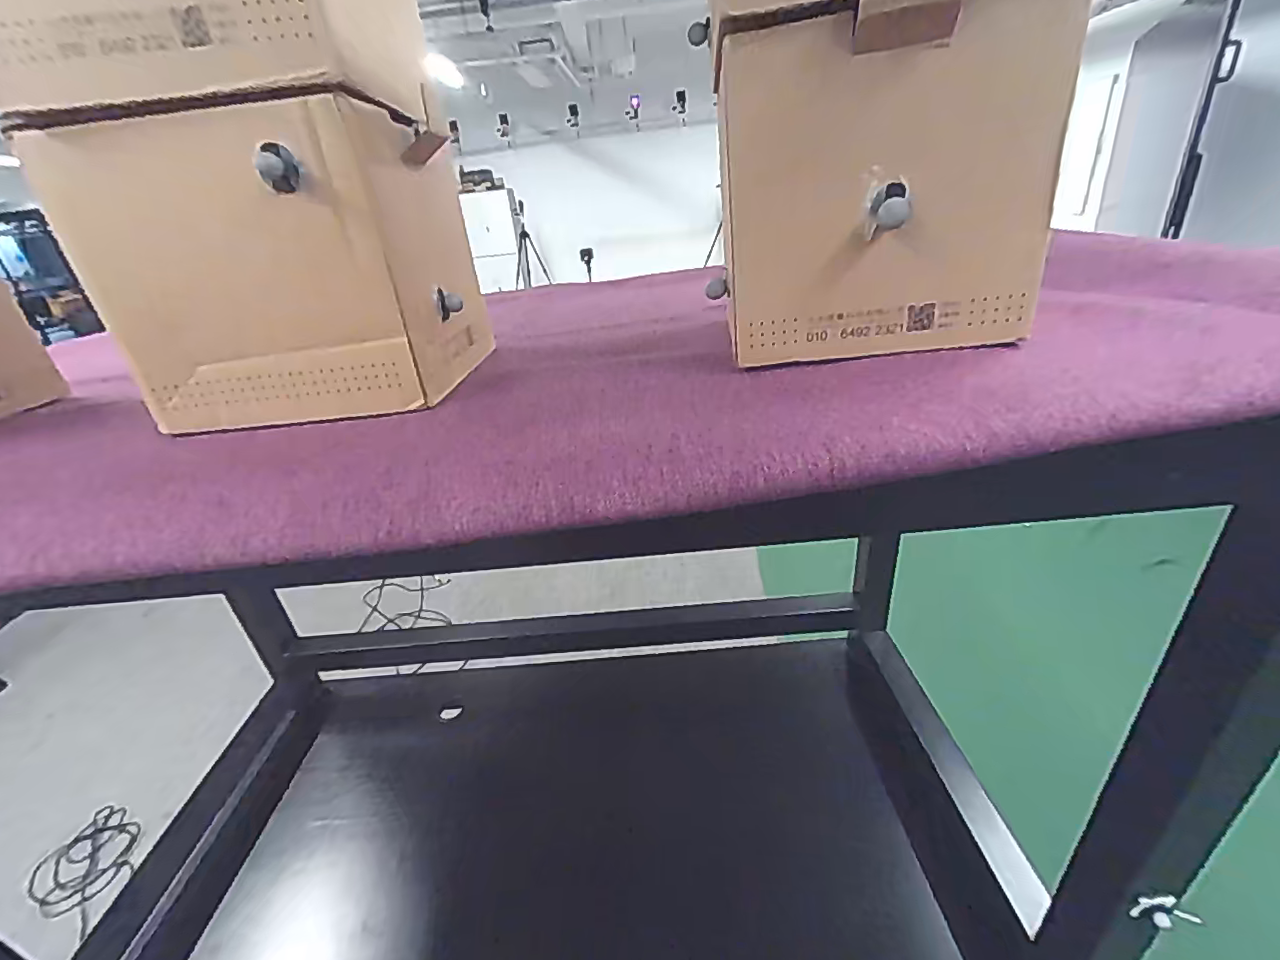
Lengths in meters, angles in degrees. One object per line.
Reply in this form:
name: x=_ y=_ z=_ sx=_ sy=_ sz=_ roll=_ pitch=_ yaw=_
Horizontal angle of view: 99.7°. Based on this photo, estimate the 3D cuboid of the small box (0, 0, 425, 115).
small box: x=-0.234 y=-0.290 z=0.288 sx=0.168 sy=0.176 sz=0.179 roll=-5 pitch=25 yaw=-1

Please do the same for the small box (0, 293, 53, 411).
small box: x=-0.584 y=-0.103 z=0.355 sx=0.179 sy=0.176 sz=0.168 roll=-5 pitch=29 yaw=2

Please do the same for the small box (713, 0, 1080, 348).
small box: x=0.136 y=-0.186 z=0.347 sx=0.168 sy=0.176 sz=0.179 roll=-4 pitch=26 yaw=9

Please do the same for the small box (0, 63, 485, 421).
small box: x=-0.224 y=-0.145 z=0.361 sx=0.179 sy=0.176 sz=0.168 roll=-5 pitch=26 yaw=2

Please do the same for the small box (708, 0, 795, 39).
small box: x=0.117 y=-0.329 z=0.267 sx=0.179 sy=0.176 sz=0.168 roll=-4 pitch=26 yaw=8
